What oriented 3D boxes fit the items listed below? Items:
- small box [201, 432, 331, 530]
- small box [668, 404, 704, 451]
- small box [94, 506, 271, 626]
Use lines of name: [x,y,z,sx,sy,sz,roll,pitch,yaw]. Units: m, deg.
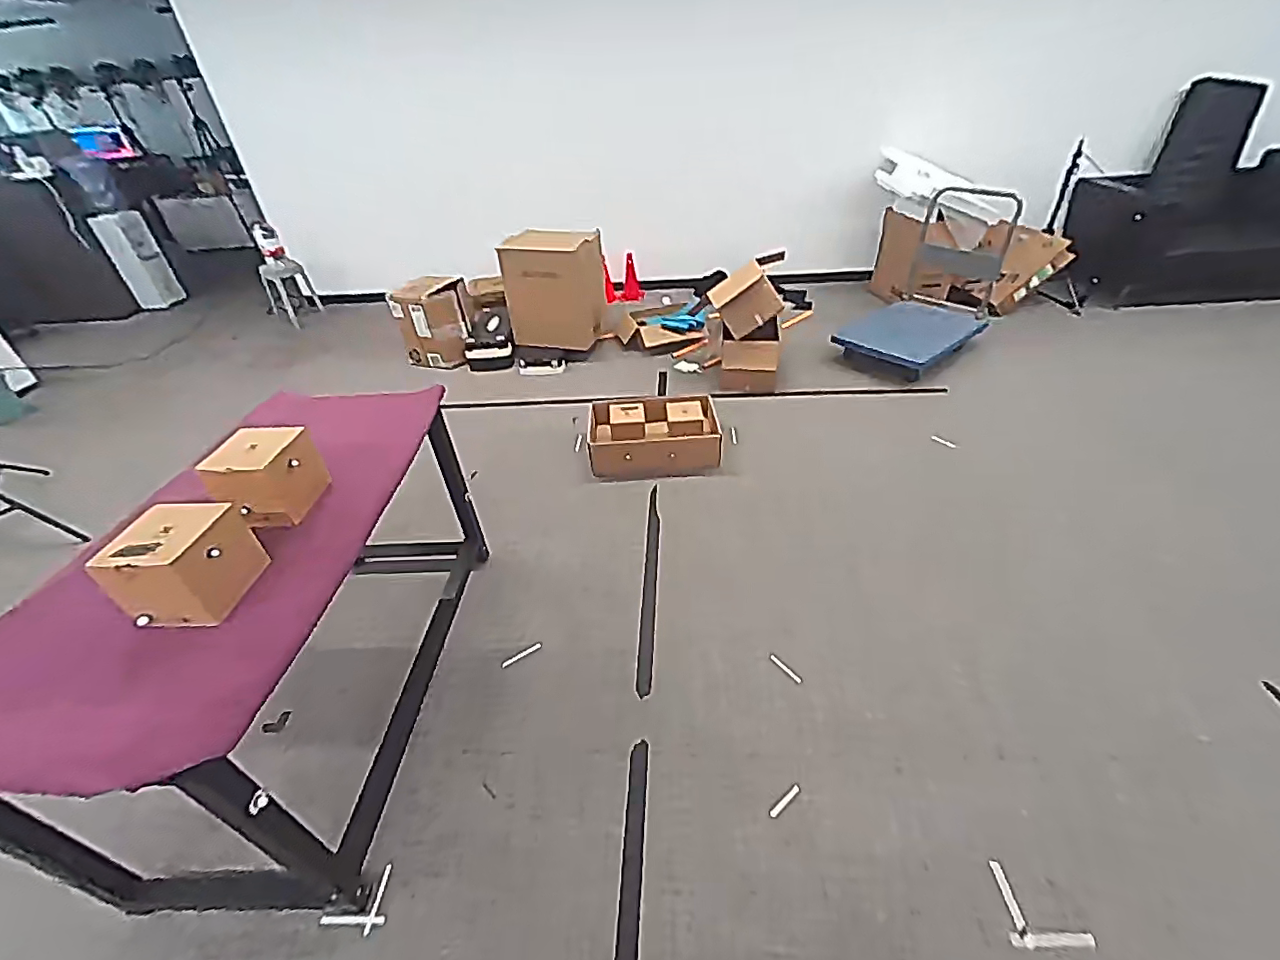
small box: [-0.877,0.000,1.294,0.168,0.176,0.179,-1,38,5]
small box: [0.224,-0.250,2.634,0.168,0.176,0.179,-3,36,1]
small box: [-0.880,0.171,1.065,0.168,0.176,0.179,-1,36,4]
